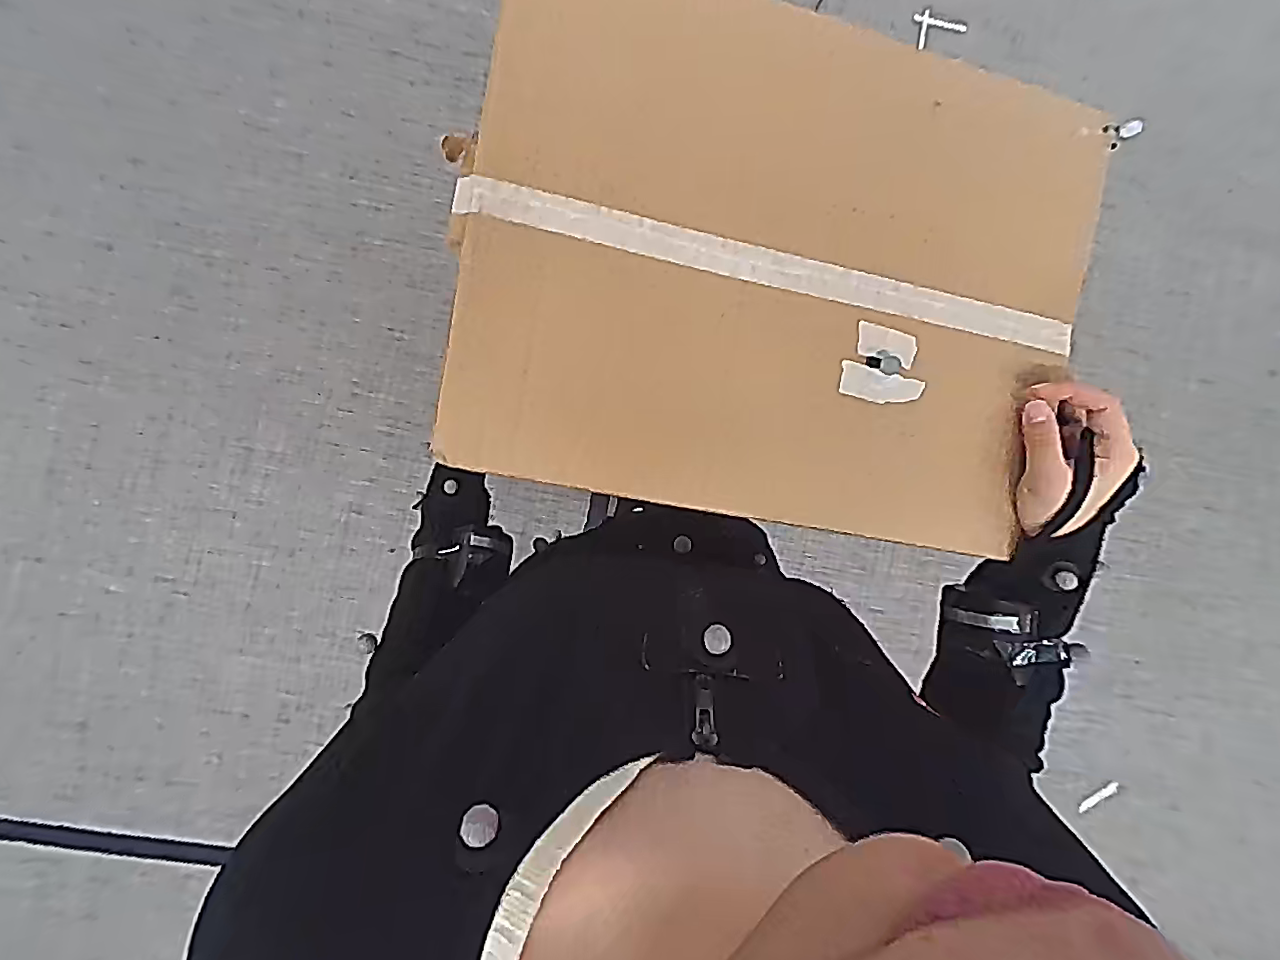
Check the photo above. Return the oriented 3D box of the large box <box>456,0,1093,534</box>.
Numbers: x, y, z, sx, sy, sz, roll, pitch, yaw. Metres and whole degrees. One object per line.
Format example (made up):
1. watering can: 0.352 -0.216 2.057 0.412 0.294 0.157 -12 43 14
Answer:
1. large box: 0.077 -0.151 0.497 0.408 0.320 0.320 10 94 -11
